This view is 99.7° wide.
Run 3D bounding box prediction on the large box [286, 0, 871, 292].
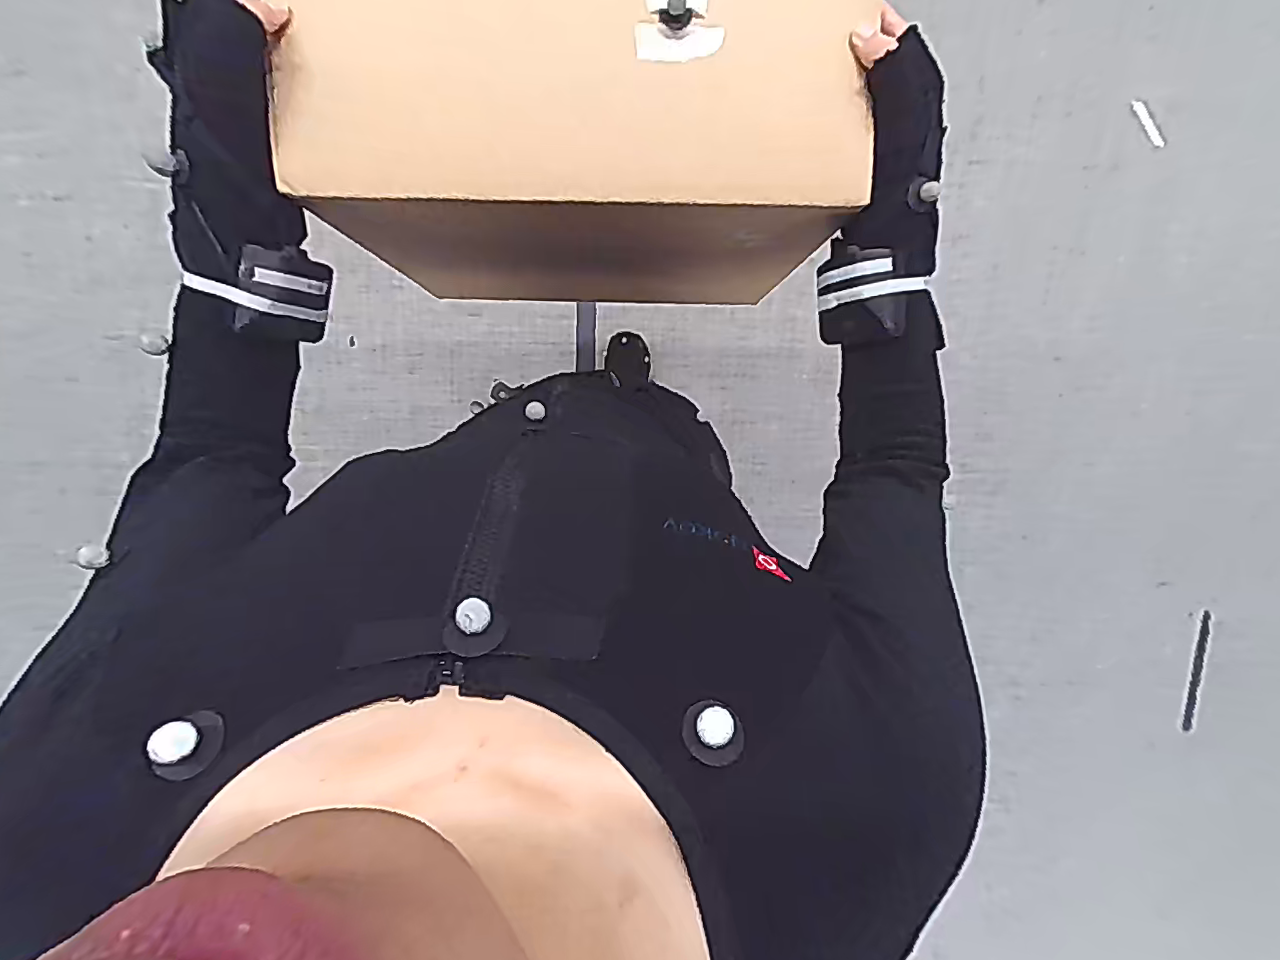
[{"bbox_3d":[-0.045,-0.375,0.512,0.408,0.320,0.320,0,96,-2],"label":"large box"}]
